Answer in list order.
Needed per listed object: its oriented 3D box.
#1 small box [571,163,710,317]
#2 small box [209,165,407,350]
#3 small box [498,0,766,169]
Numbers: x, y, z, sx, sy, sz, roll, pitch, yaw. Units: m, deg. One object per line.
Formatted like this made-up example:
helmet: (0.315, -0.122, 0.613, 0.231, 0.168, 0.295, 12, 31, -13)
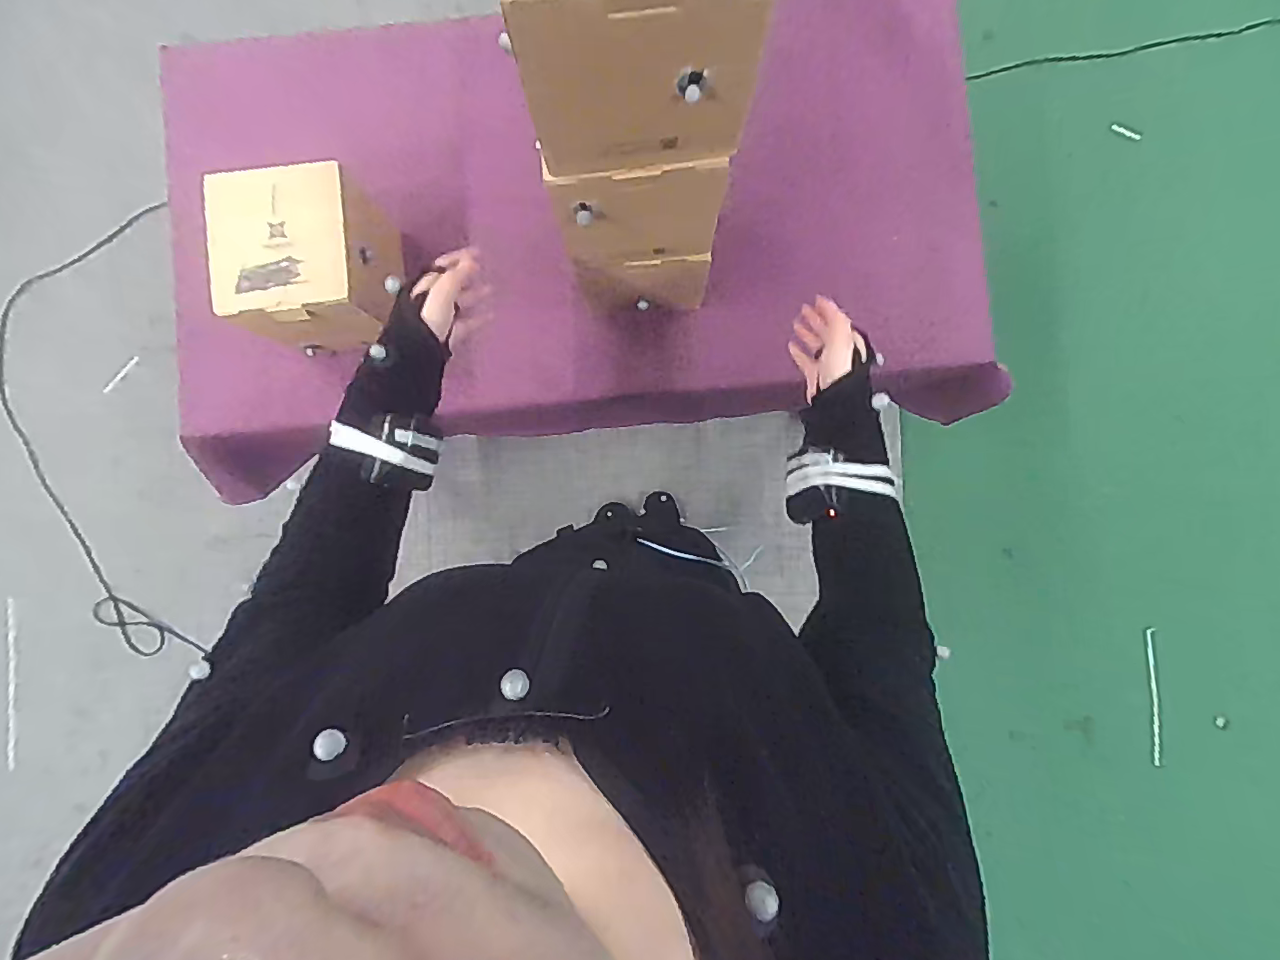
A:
small box: (0.000, -0.334, 0.724, 0.168, 0.176, 0.179, -3, 88, 1)
small box: (-0.431, -0.282, 0.728, 0.168, 0.176, 0.179, -6, 86, 0)
small box: (-0.007, -0.357, 0.397, 0.168, 0.176, 0.179, -6, 86, 0)
